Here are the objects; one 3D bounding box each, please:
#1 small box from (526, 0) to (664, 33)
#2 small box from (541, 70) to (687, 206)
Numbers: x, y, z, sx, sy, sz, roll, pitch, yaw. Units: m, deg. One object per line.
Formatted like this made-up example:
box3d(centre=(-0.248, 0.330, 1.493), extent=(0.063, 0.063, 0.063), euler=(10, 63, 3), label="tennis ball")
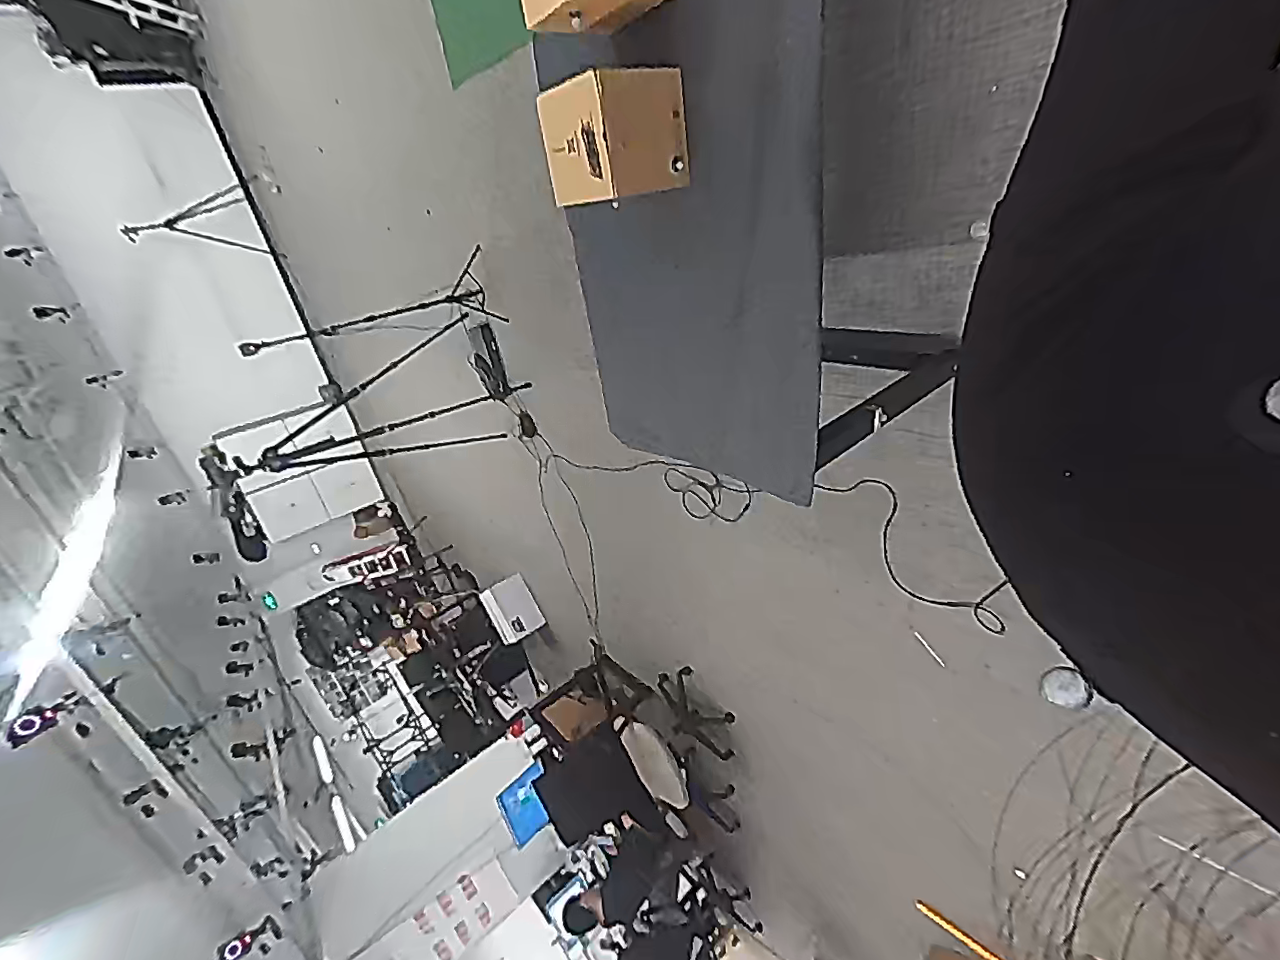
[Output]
box3d(centre=(-0.067, -0.781, 0.783), extent=(0.179, 0.176, 0.168), euler=(22, 131, 48), label="small box")
box3d(centre=(-0.035, -0.567, 0.904), extent=(0.179, 0.176, 0.168), euler=(25, 133, 47), label="small box")
